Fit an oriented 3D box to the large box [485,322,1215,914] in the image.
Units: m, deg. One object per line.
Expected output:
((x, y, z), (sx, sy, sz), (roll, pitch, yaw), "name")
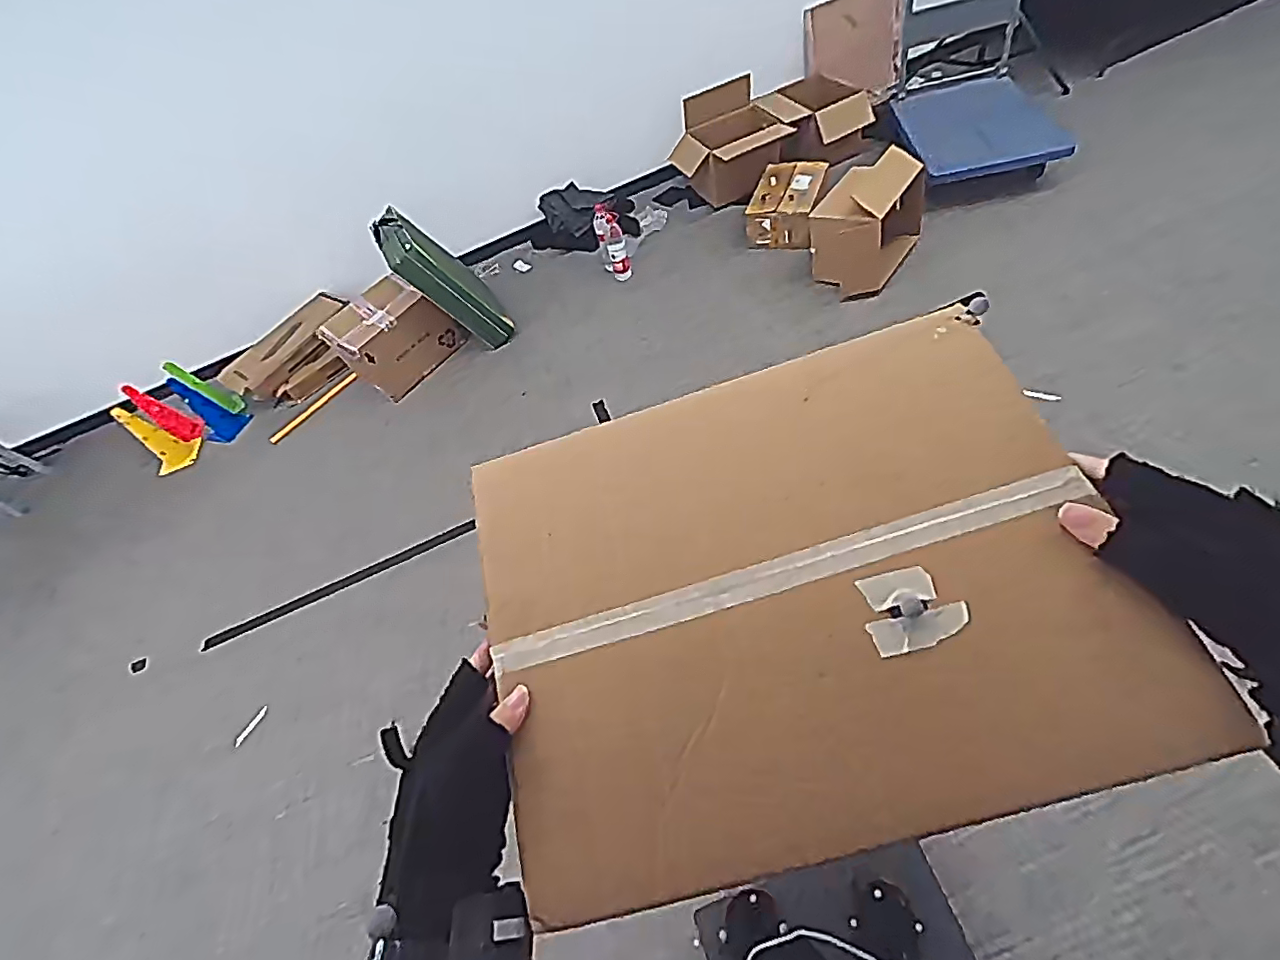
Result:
((0.122, 0.127, 0.507), (0.408, 0.320, 0.320), (-18, 64, 4), "large box")
